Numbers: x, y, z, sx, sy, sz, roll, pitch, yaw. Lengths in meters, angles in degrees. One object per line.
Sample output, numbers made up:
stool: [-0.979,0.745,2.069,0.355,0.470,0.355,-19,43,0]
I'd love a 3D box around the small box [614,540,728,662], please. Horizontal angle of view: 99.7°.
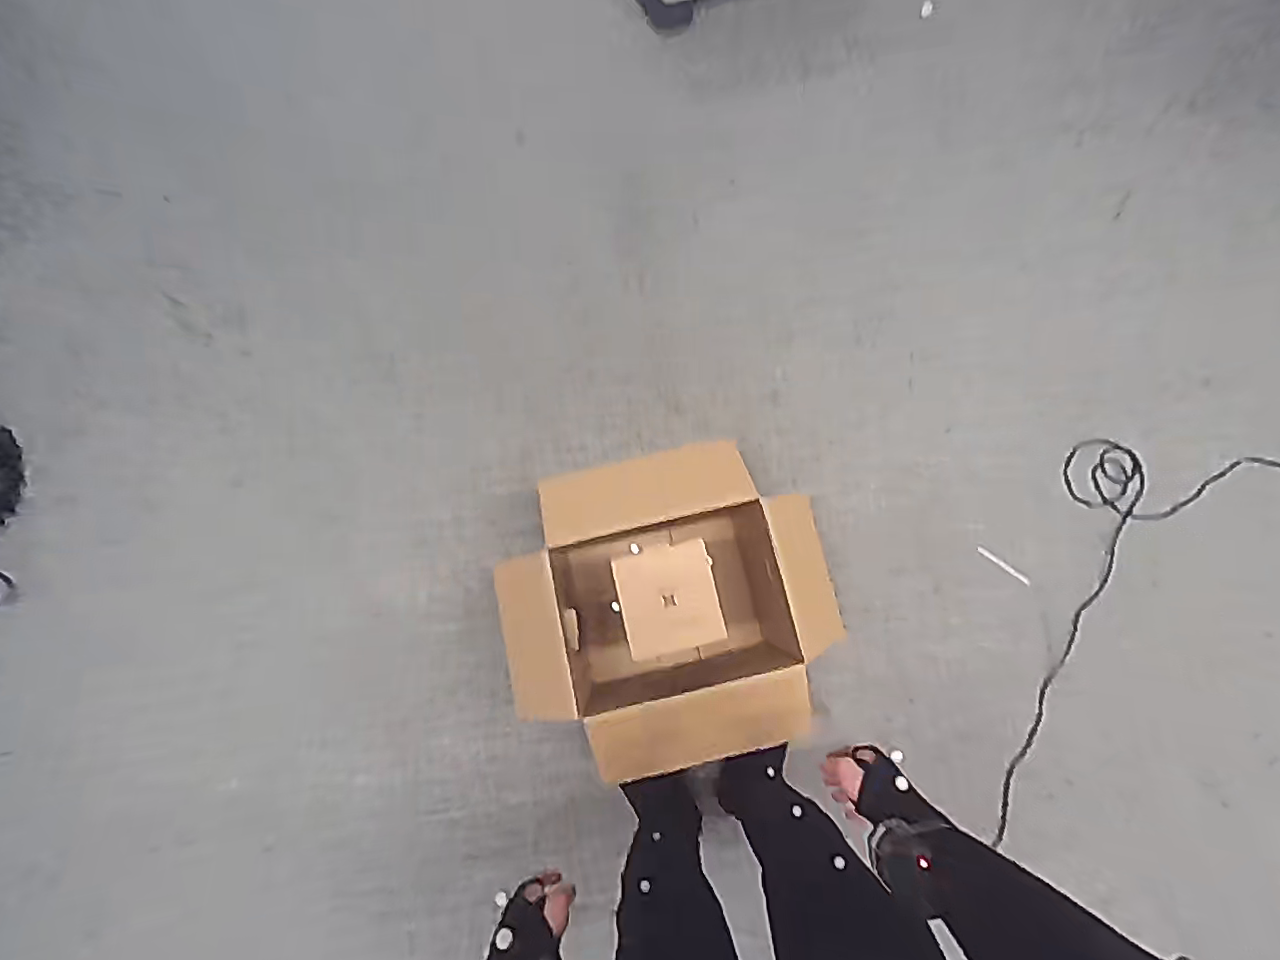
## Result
small box: [0.049,0.217,0.988,0.168,0.176,0.179,-13,81,-3]
